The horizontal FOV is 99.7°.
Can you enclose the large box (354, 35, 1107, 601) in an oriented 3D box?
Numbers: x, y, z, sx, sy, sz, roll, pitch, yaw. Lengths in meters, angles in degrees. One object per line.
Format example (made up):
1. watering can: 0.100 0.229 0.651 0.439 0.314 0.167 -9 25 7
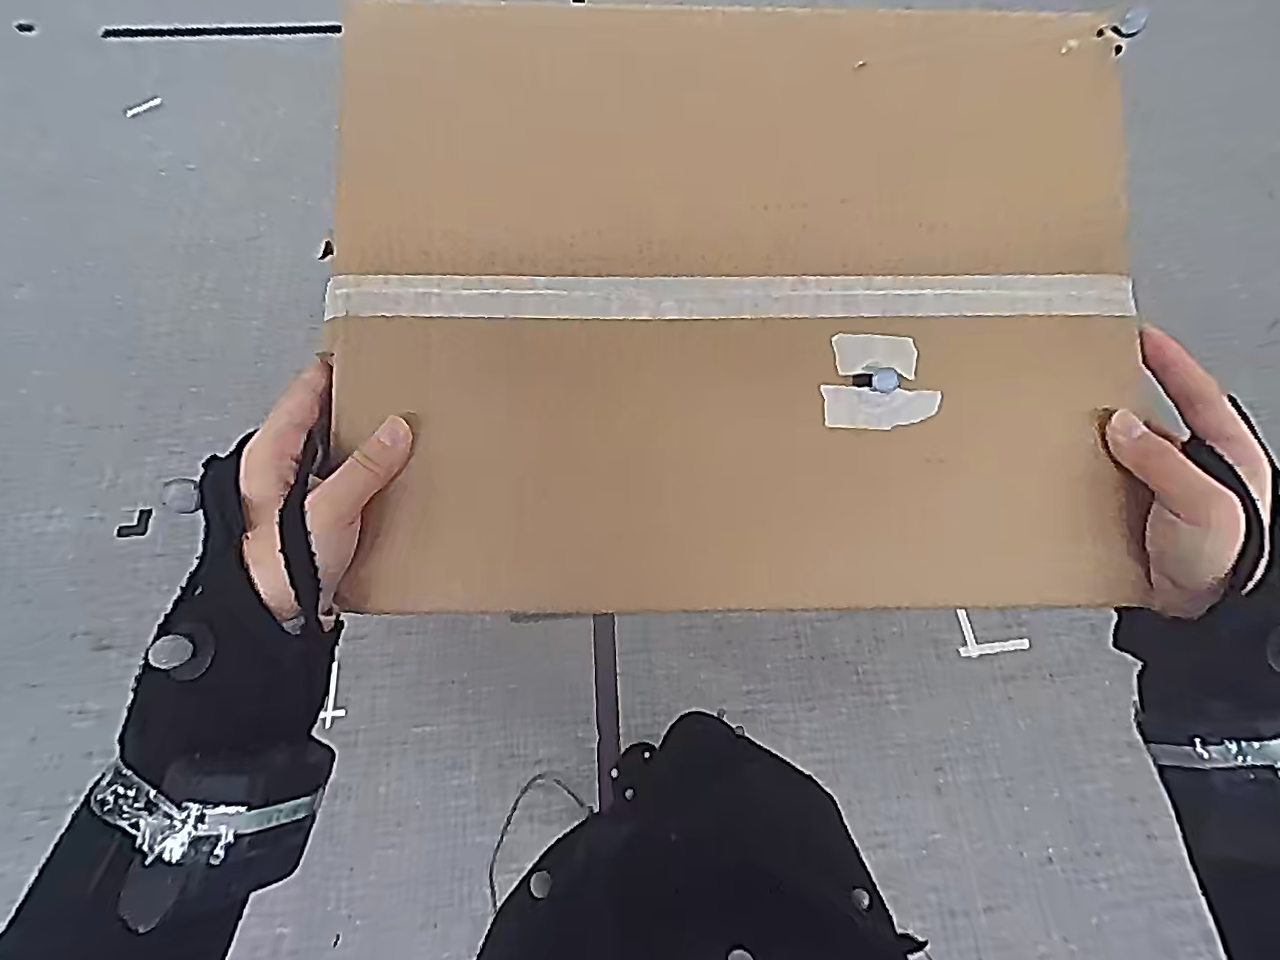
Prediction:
1. large box: 0.043 -0.085 0.440 0.408 0.320 0.320 0 87 -2
